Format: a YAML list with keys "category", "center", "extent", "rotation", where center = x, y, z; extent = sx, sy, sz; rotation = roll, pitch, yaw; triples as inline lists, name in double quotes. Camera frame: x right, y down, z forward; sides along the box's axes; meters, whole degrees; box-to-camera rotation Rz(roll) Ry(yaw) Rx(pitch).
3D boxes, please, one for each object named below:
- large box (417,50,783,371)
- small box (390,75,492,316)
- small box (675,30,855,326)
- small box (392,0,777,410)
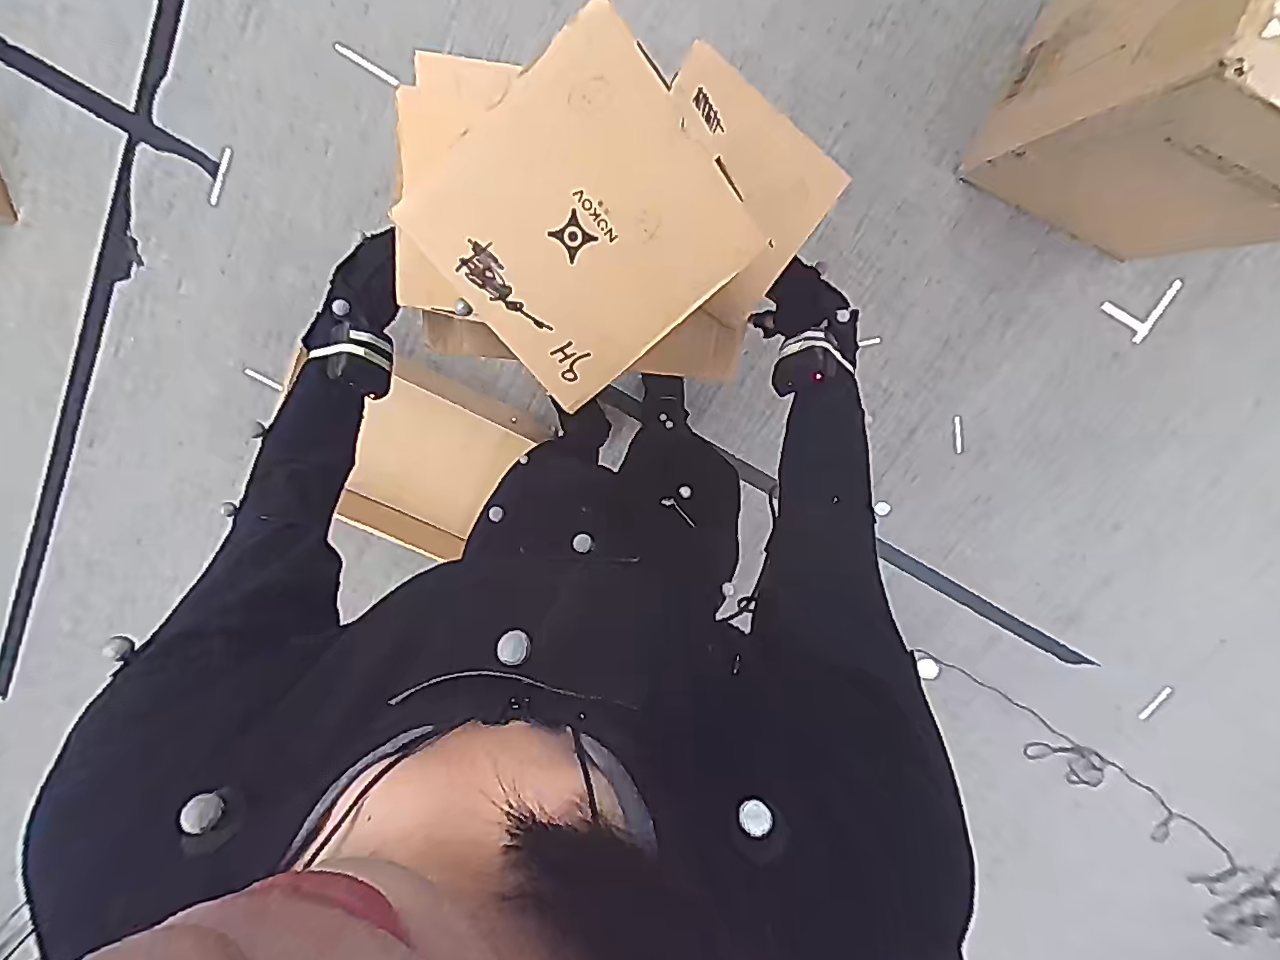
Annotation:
- category: "large box"
  center: [-0.062, -0.348, 0.771]
  extent: [0.408, 0.320, 0.320]
  rotation: [4, 112, -6]
- category: "small box"
  center: [-0.135, -0.258, 0.539]
  extent: [0.168, 0.176, 0.179]
  rotation: [6, 110, -8]
- category: "small box"
  center: [0.068, -0.278, 0.542]
  extent: [0.179, 0.176, 0.168]
  rotation: [34, 106, -15]
- category: "small box"
  center: [-0.036, -0.183, 0.398]
  extent: [0.179, 0.176, 0.168]
  rotation: [-38, 108, 10]
